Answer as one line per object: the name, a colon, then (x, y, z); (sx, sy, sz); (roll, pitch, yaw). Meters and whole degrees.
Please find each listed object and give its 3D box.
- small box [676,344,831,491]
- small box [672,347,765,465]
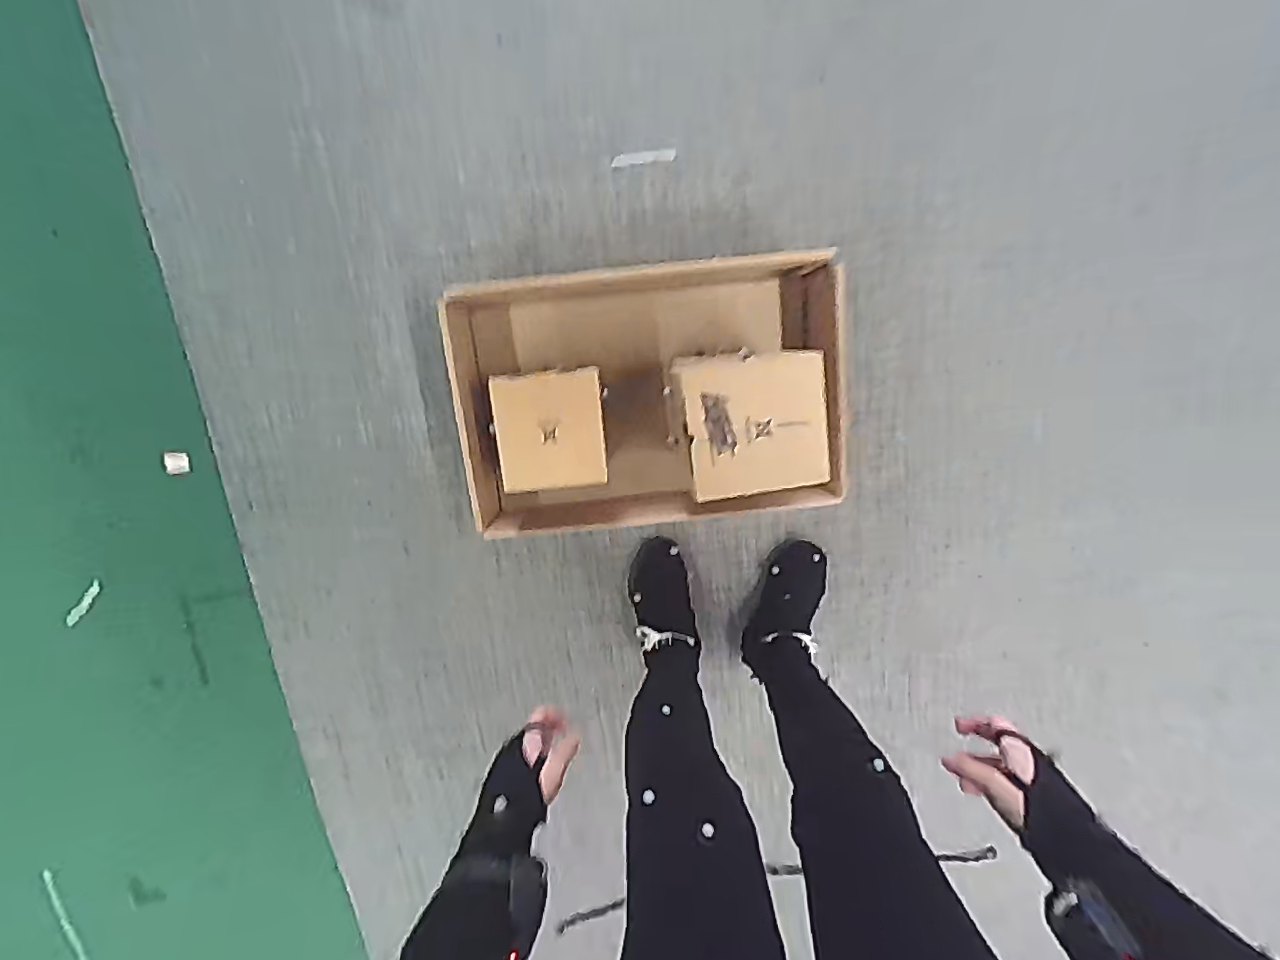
small box: (0.145, -0.092, 0.746); (0.179, 0.176, 0.168); (-8, 104, 1)
small box: (0.143, -0.130, 0.907); (0.168, 0.176, 0.179); (-4, 103, 0)
